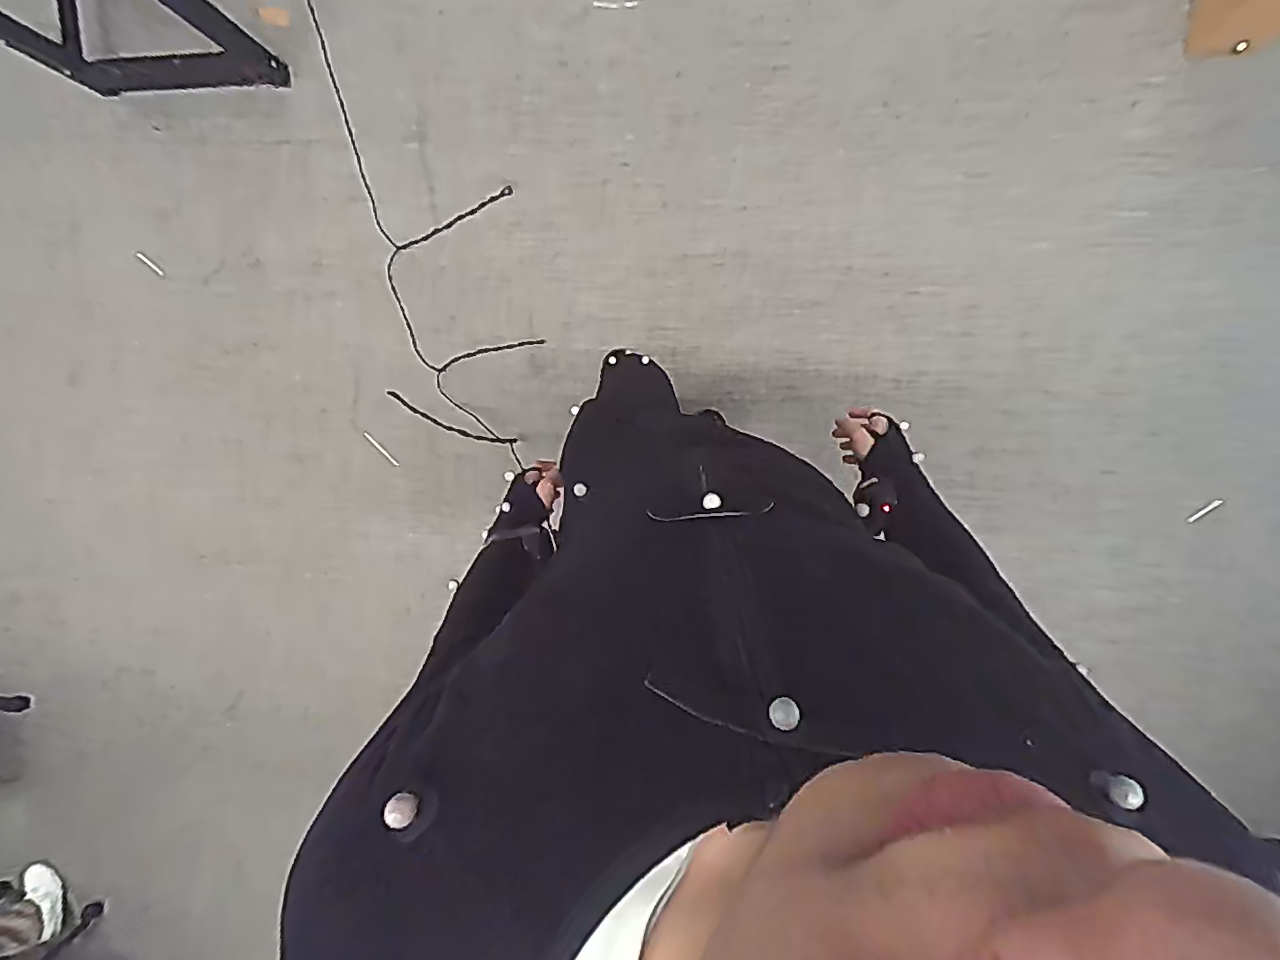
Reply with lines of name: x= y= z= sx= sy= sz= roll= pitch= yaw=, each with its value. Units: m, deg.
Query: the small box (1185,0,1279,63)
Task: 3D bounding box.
small box: x=1.448 y=-1.128 z=1.268 sx=0.168 sy=0.176 sz=0.179 roll=3 pitch=98 yaw=5
